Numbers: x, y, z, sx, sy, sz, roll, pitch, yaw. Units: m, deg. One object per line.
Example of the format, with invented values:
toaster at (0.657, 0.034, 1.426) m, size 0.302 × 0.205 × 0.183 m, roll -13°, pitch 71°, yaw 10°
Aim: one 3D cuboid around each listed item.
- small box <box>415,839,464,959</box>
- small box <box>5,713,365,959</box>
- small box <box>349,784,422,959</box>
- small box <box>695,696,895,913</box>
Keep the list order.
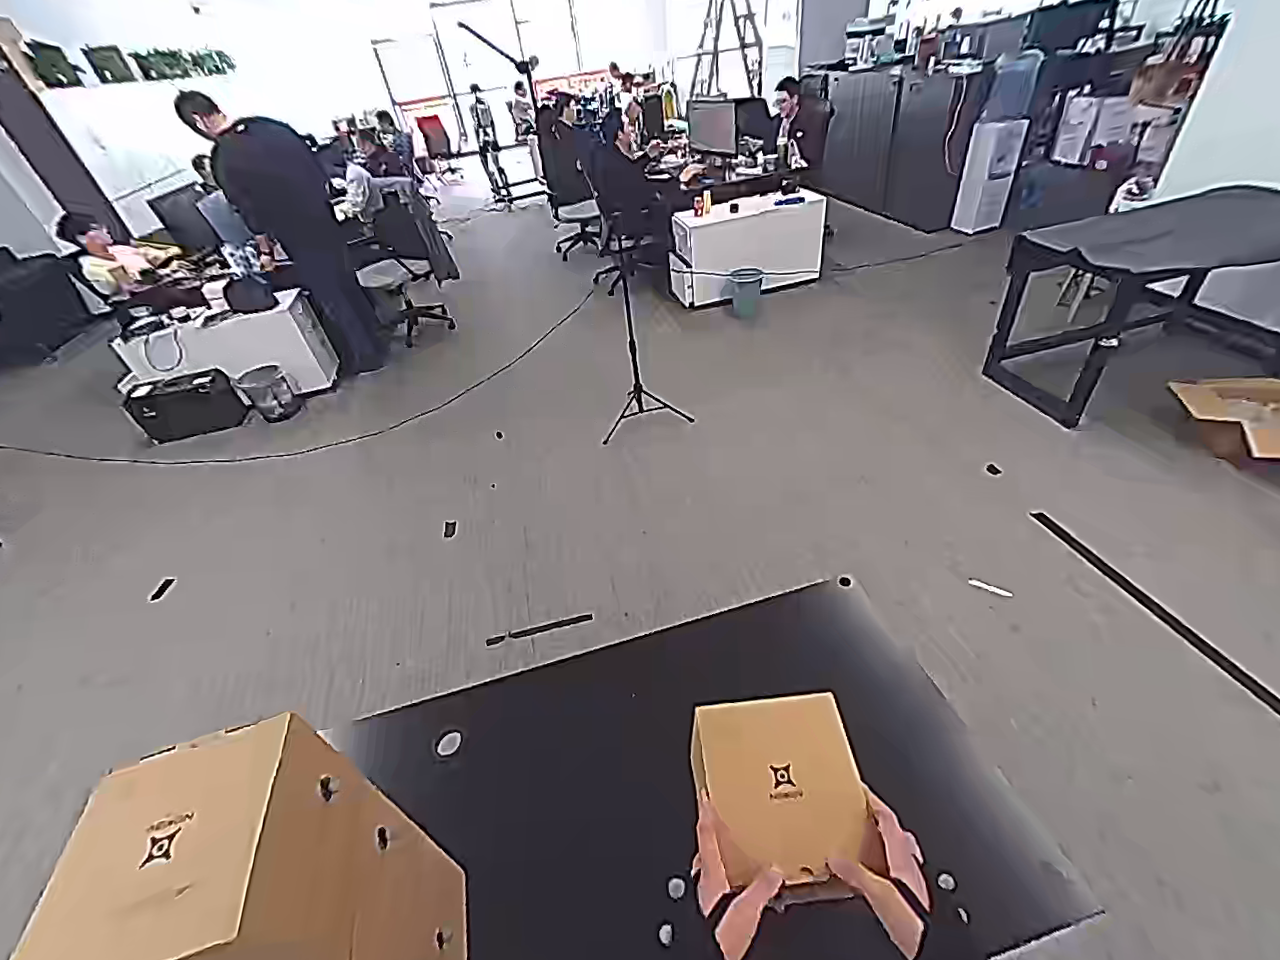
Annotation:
small box at (-0.326, 0.598, 0.680) m, size 0.168 × 0.176 × 0.179 m, roll -15°, pitch 40°, yaw -9°
small box at (-0.364, 0.346, 0.473) m, size 0.168 × 0.176 × 0.179 m, roll -16°, pitch 40°, yaw -7°
small box at (-0.346, 0.470, 0.577) m, size 0.168 × 0.176 × 0.179 m, roll -16°, pitch 40°, yaw -7°
small box at (0.158, 0.375, 0.625) m, size 0.168 × 0.176 × 0.179 m, roll -5°, pitch 47°, yaw -2°
